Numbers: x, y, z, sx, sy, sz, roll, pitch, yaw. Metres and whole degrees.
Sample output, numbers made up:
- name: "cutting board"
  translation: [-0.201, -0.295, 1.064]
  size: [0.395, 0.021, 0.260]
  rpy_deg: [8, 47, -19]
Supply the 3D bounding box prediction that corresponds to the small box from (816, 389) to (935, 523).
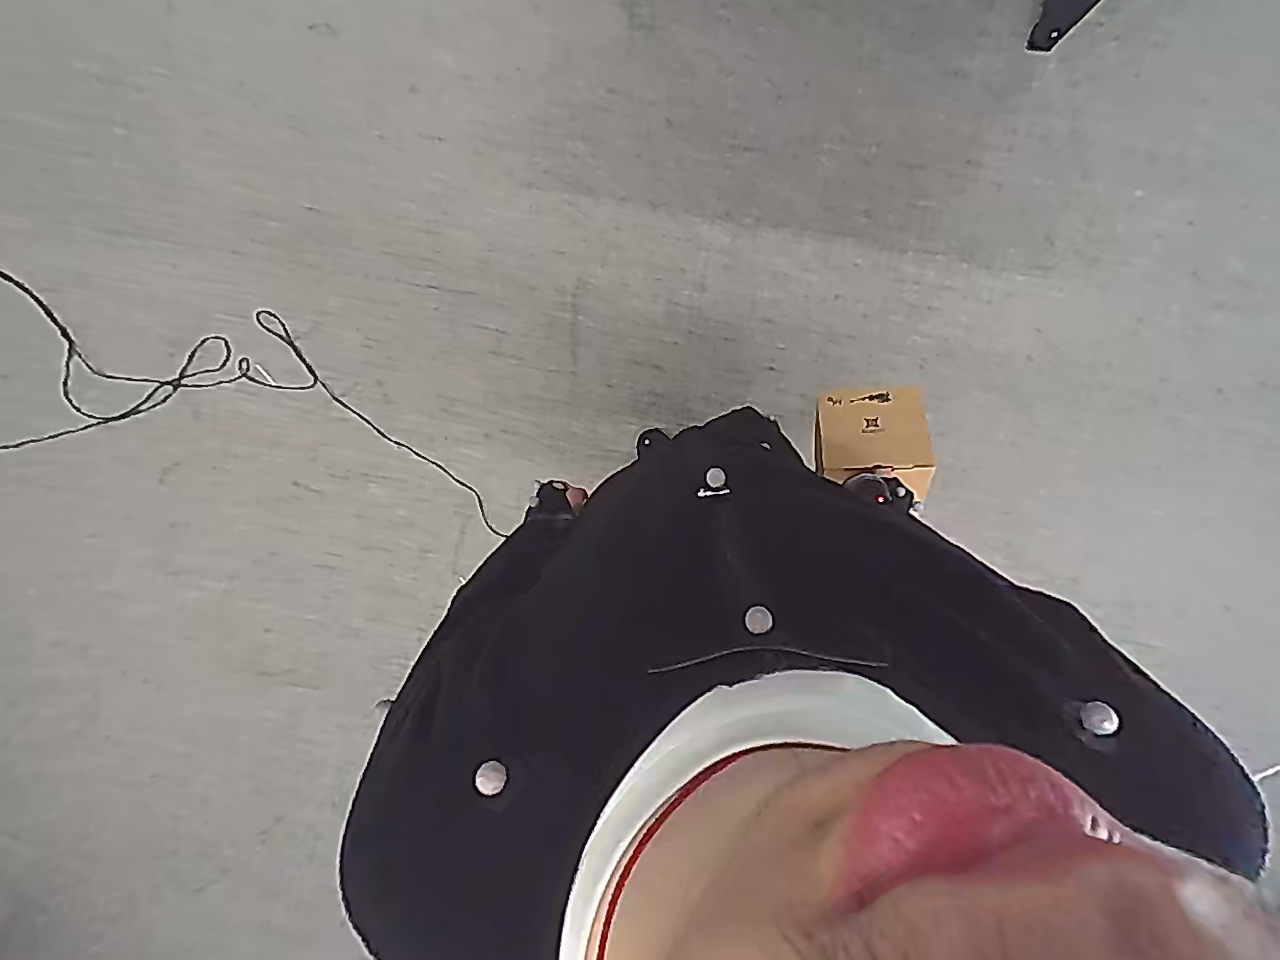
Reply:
- name: "small box"
  translation: [0.407, -0.033, 0.957]
  size: [0.168, 0.176, 0.179]
  rpy_deg: [-5, 52, 16]
